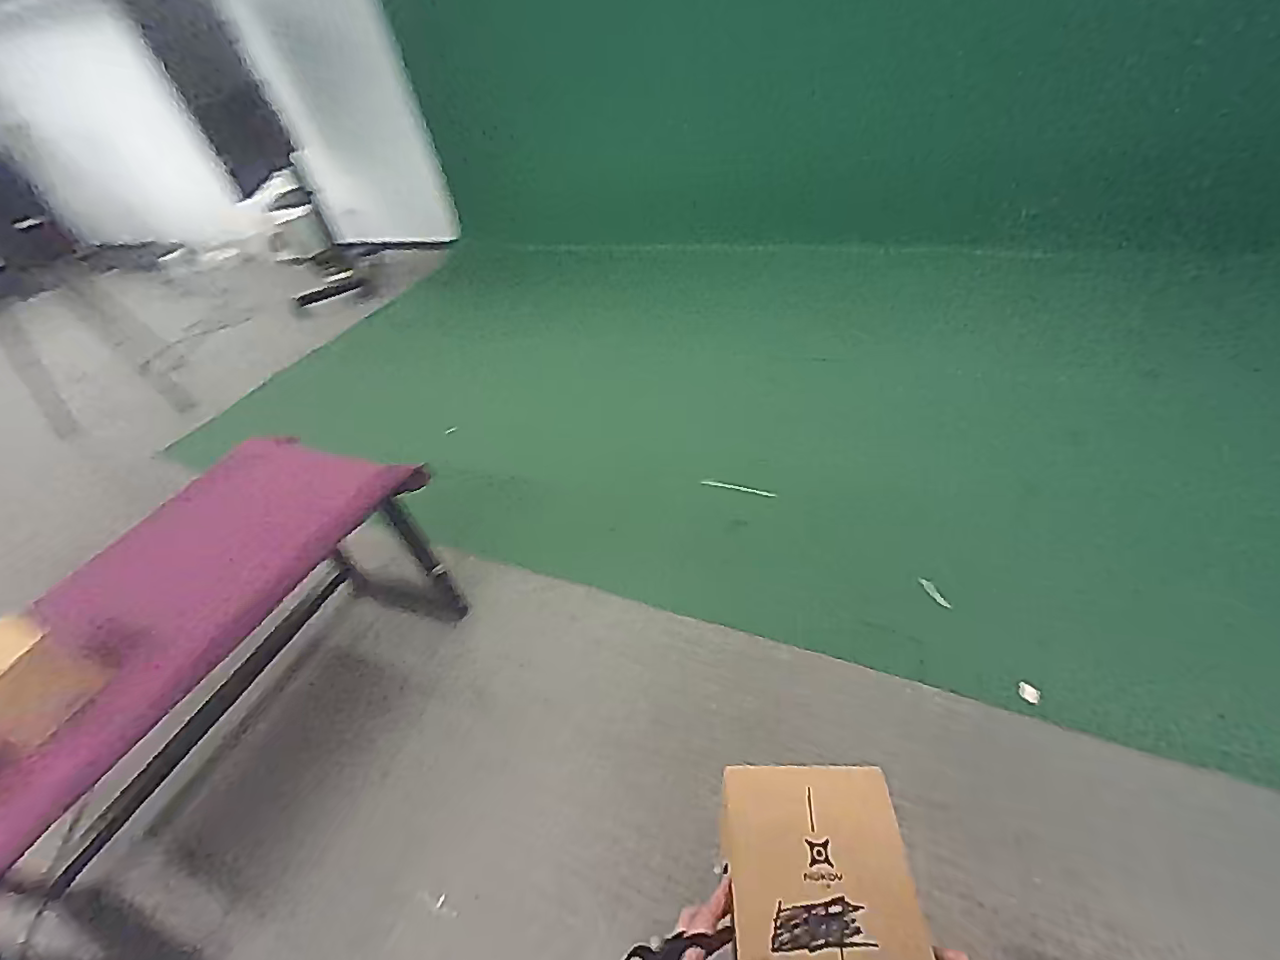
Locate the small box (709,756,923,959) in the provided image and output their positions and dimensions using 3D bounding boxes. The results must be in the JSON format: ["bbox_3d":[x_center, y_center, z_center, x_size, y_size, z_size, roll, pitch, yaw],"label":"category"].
[{"bbox_3d":[0.160,0.410,0.559,0.168,0.176,0.179,-2,42,2],"label":"small box"}]

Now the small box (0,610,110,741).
[{"bbox_3d":[-1.238,0.390,1.075,0.179,0.176,0.168,10,47,21],"label":"small box"}]
